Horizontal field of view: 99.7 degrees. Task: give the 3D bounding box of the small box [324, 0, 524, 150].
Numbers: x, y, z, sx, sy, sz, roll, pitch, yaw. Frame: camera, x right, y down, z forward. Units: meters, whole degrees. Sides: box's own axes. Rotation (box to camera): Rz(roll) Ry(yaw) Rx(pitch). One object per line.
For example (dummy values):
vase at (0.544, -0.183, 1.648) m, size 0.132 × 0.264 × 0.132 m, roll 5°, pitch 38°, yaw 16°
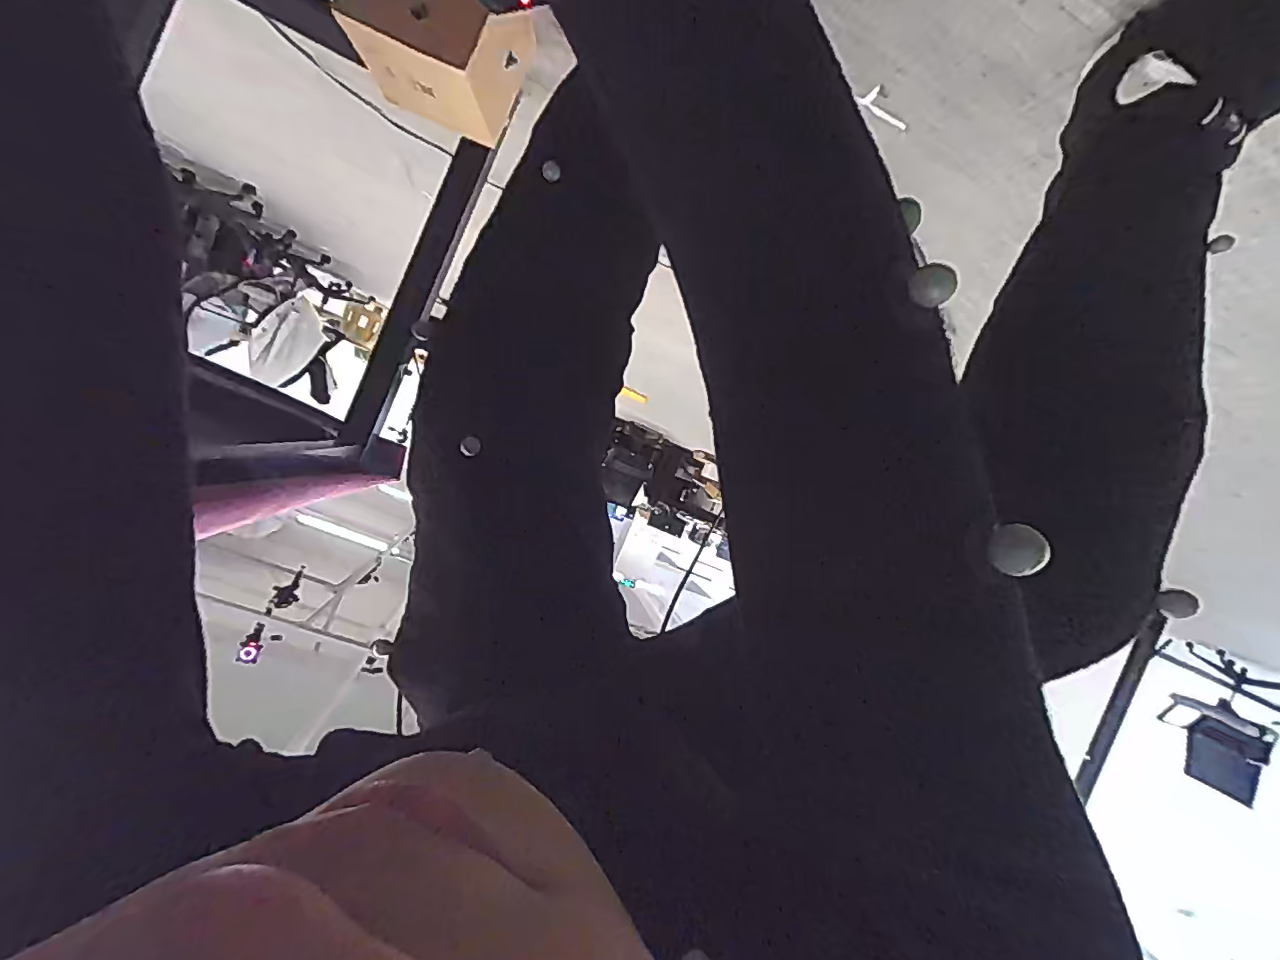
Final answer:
small box at (-0.264, -0.589, 0.710) m, size 0.179 × 0.176 × 0.168 m, roll 23°, pitch 180°, yaw -4°
